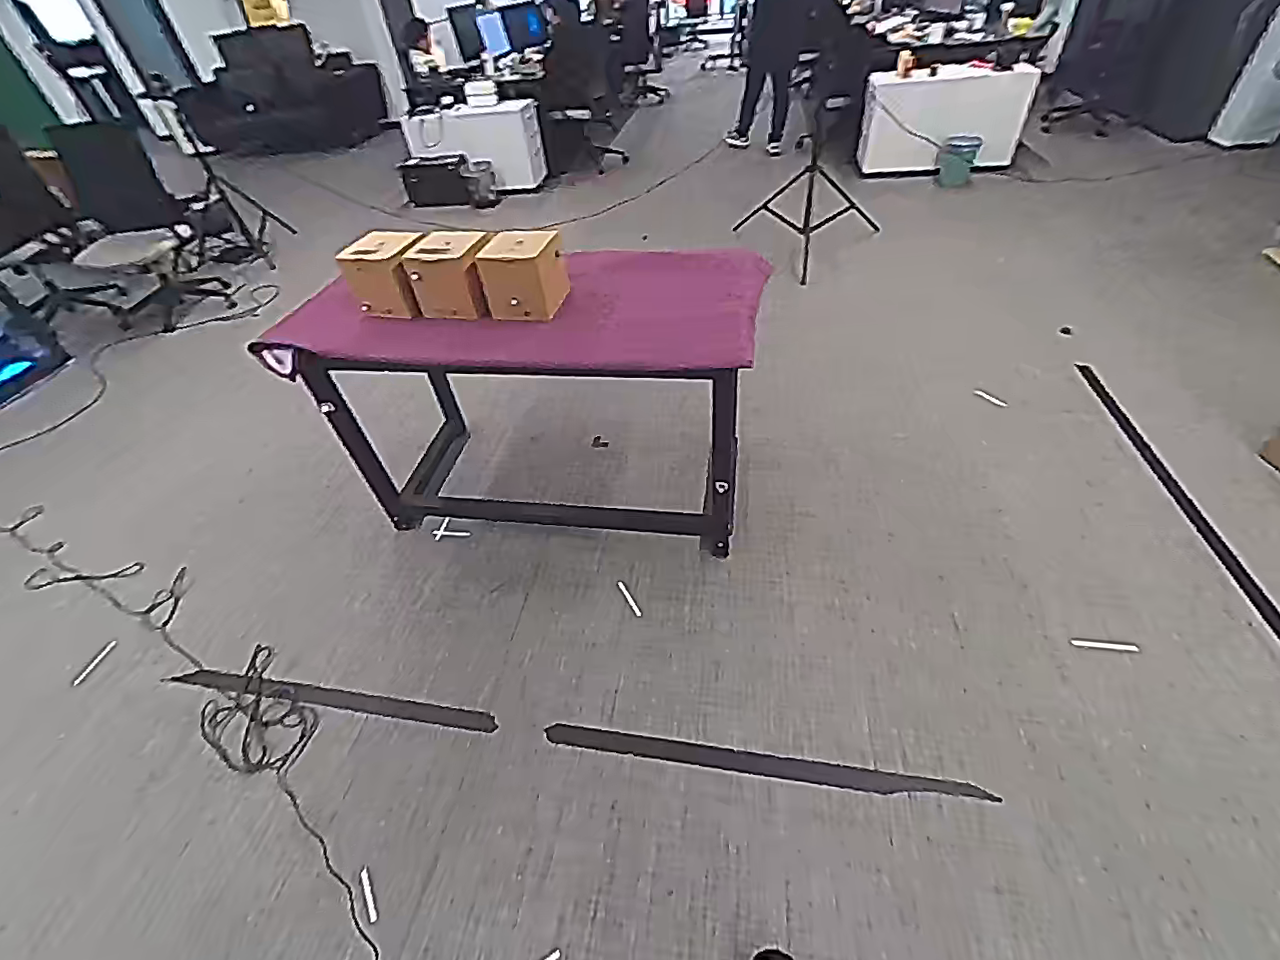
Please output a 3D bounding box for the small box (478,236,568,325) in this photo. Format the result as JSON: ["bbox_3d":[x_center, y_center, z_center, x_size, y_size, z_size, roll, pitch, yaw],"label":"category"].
[{"bbox_3d":[-0.298,-0.531,1.434,0.168,0.176,0.179,5,45,13],"label":"small box"}]
